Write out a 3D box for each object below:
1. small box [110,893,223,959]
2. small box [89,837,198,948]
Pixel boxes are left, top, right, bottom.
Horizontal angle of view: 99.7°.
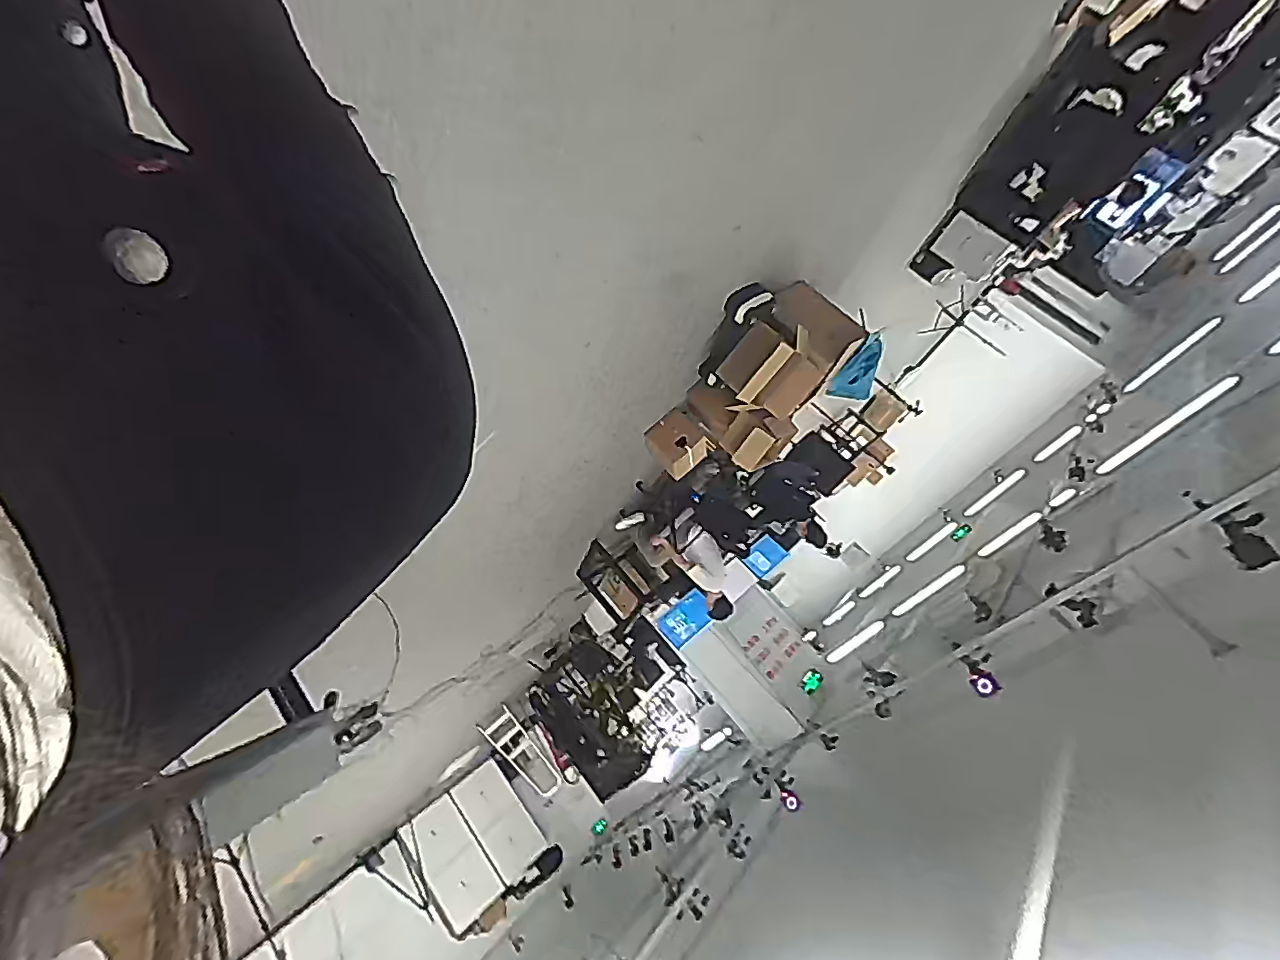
[{"bbox_3d":[-1.253,1.247,1.439,0.168,0.176,0.179,-30,157,-42],"label":"small box"},{"bbox_3d":[-1.361,1.133,1.483,0.179,0.176,0.168,-25,156,-43],"label":"small box"}]
